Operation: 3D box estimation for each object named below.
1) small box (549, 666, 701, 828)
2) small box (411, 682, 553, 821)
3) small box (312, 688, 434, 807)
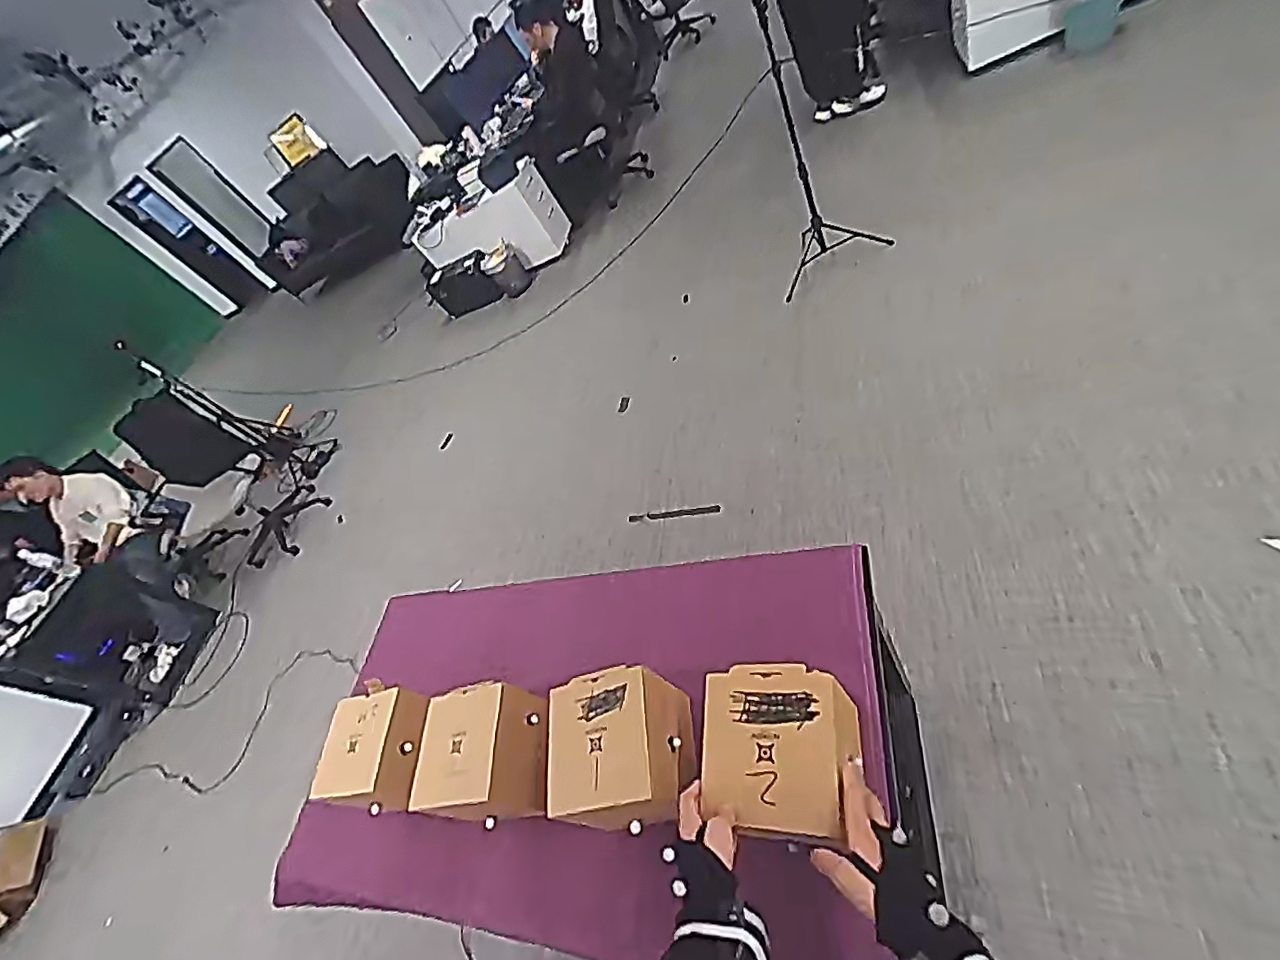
[{"bbox_3d":[-0.020,0.410,0.823,0.168,0.176,0.179,-22,48,19],"label":"small box"},{"bbox_3d":[-0.255,0.472,0.934,0.168,0.176,0.179,-19,47,21],"label":"small box"},{"bbox_3d":[-0.478,0.522,1.043,0.168,0.176,0.179,-18,48,21],"label":"small box"}]
